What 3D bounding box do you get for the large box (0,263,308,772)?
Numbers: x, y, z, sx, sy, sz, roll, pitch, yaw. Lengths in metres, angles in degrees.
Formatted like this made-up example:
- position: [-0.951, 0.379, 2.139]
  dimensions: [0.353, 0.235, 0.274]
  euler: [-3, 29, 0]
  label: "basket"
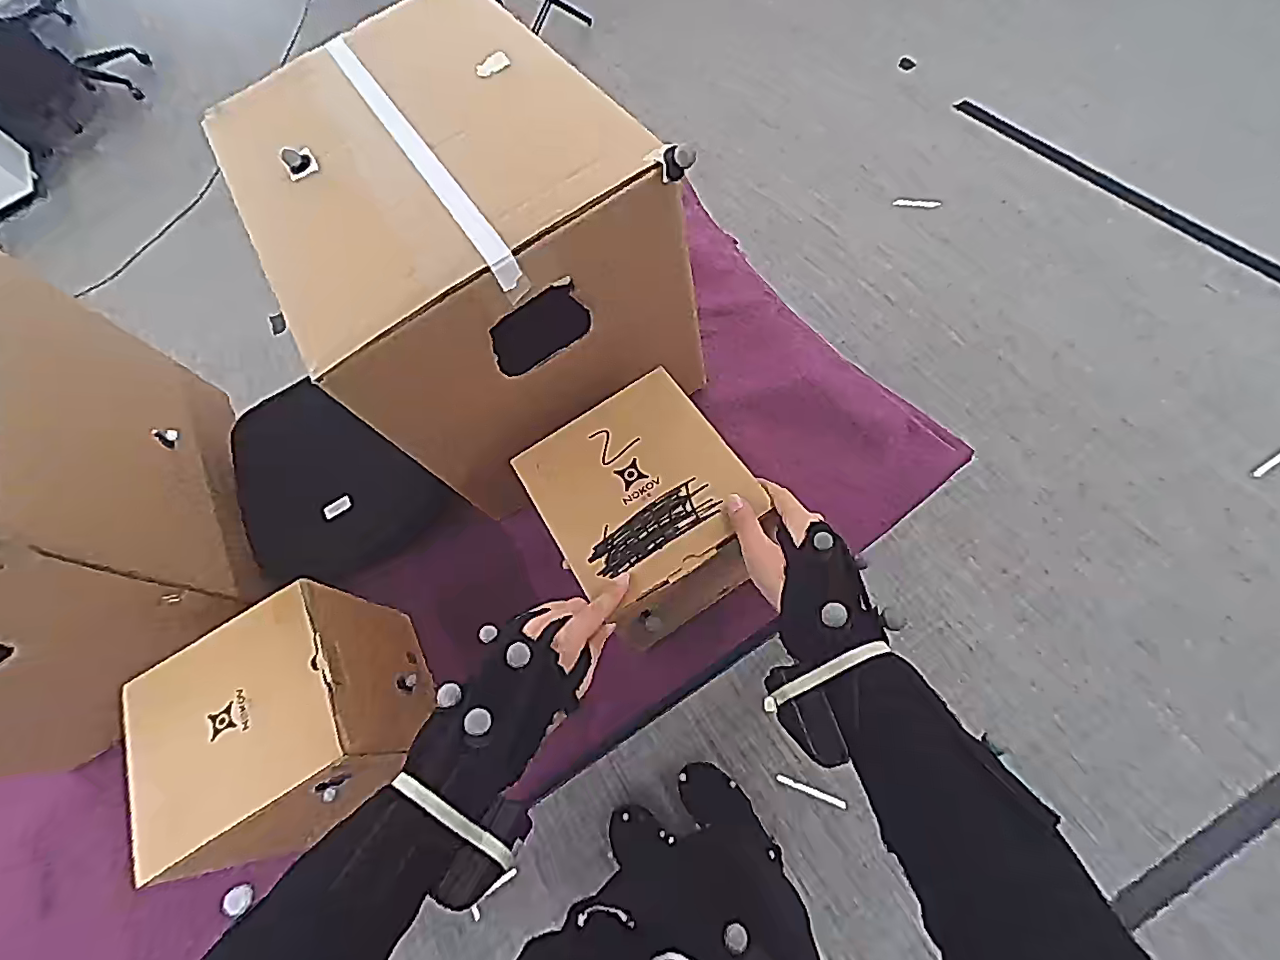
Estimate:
- position: [-0.654, 0.046, 0.584]
  dimensions: [0.320, 0.320, 0.408]
  euler: [-36, 67, -6]
  label: "large box"
